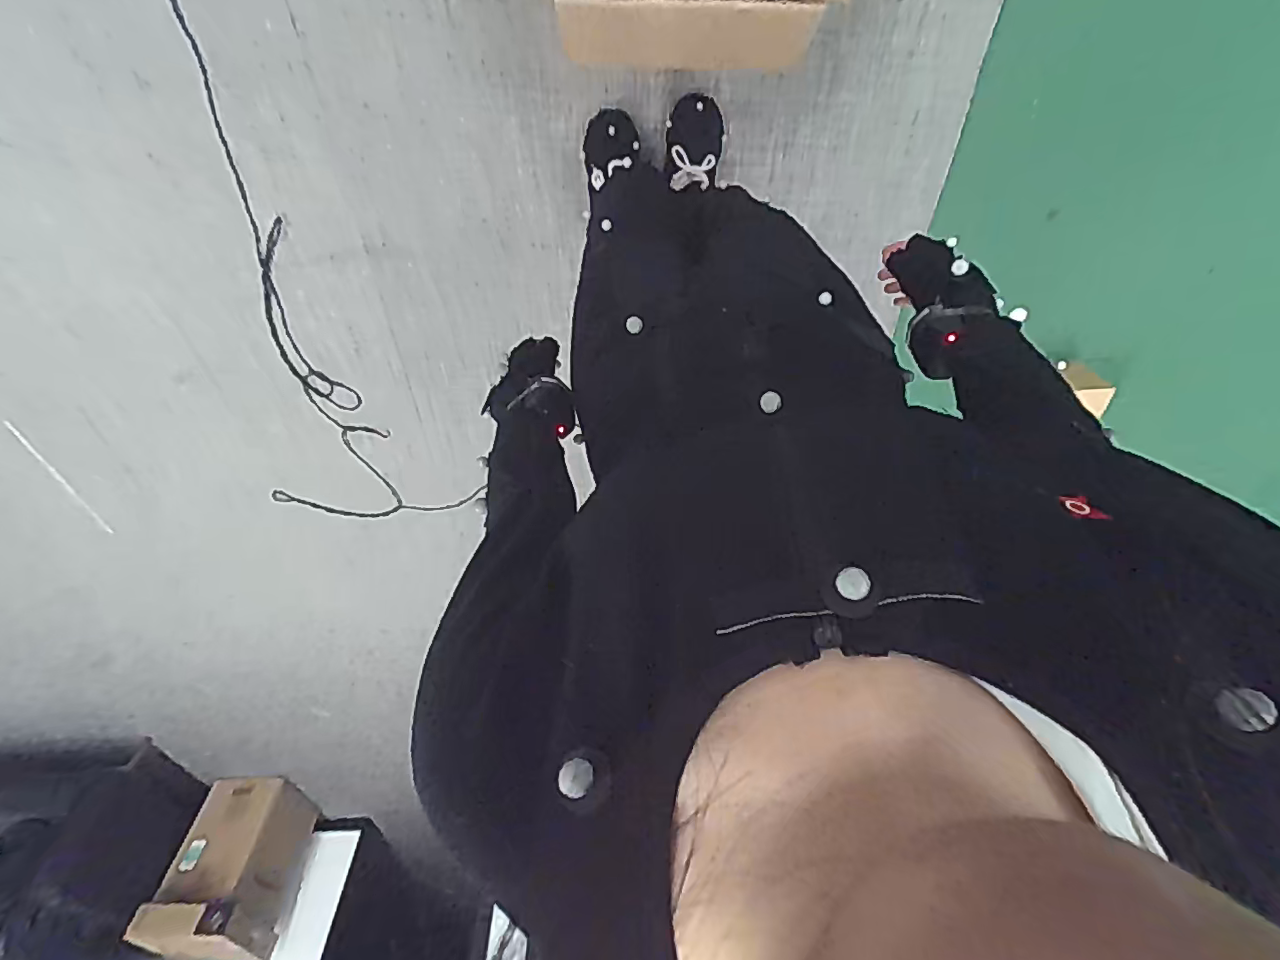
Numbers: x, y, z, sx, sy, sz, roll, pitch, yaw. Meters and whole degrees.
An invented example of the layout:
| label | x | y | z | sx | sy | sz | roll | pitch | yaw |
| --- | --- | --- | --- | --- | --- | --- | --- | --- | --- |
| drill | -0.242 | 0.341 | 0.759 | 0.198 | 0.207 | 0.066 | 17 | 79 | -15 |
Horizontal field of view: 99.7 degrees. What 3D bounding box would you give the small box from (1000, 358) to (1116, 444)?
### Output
| label | x | y | z | sx | sy | sz | roll | pitch | yaw |
| --- | --- | --- | --- | --- | --- | --- | --- | --- | --- |
| small box | 1.144 | -0.221 | 1.500 | 0.168 | 0.176 | 0.179 | -3 | 130 | 1 |
